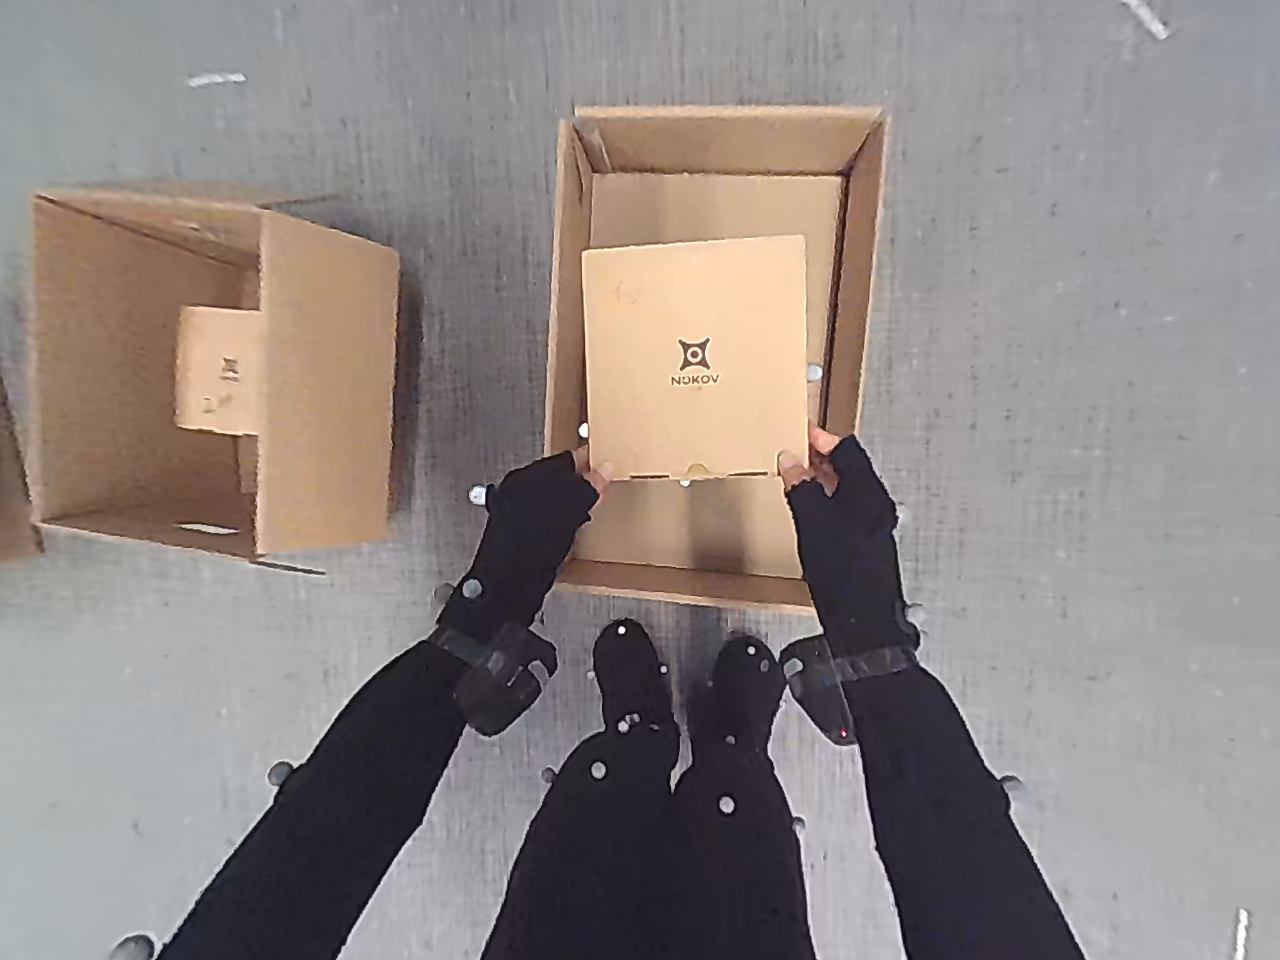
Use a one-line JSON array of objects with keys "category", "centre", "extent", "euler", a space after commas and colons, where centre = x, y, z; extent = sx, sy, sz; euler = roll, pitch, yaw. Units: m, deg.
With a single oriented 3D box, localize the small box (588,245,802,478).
[{"category": "small box", "centre": [0.048, -0.093, 0.496], "extent": [0.168, 0.176, 0.179], "euler": [-2, 94, 6]}]
